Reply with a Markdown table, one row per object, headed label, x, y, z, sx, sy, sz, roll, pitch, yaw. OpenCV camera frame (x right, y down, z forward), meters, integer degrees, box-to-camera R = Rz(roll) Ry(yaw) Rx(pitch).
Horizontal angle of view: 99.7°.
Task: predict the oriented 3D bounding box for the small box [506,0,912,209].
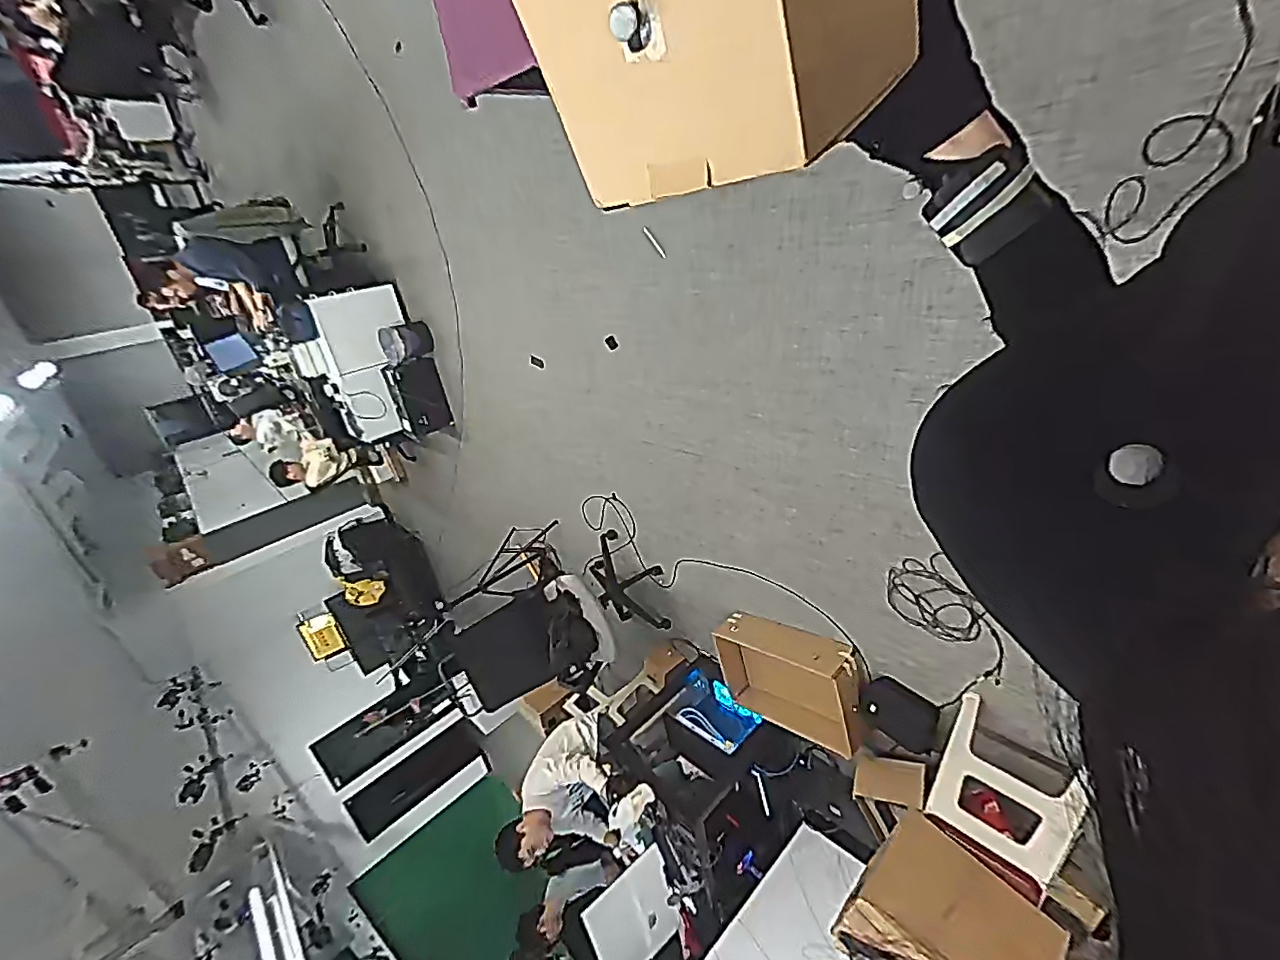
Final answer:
| label | x | y | z | sx | sy | sz | roll | pitch | yaw |
| --- | --- | --- | --- | --- | --- | --- | --- | --- | --- |
| small box | 0.038 | -0.292 | 0.315 | 0.168 | 0.179 | 0.176 | 15 | 145 | 41 |
